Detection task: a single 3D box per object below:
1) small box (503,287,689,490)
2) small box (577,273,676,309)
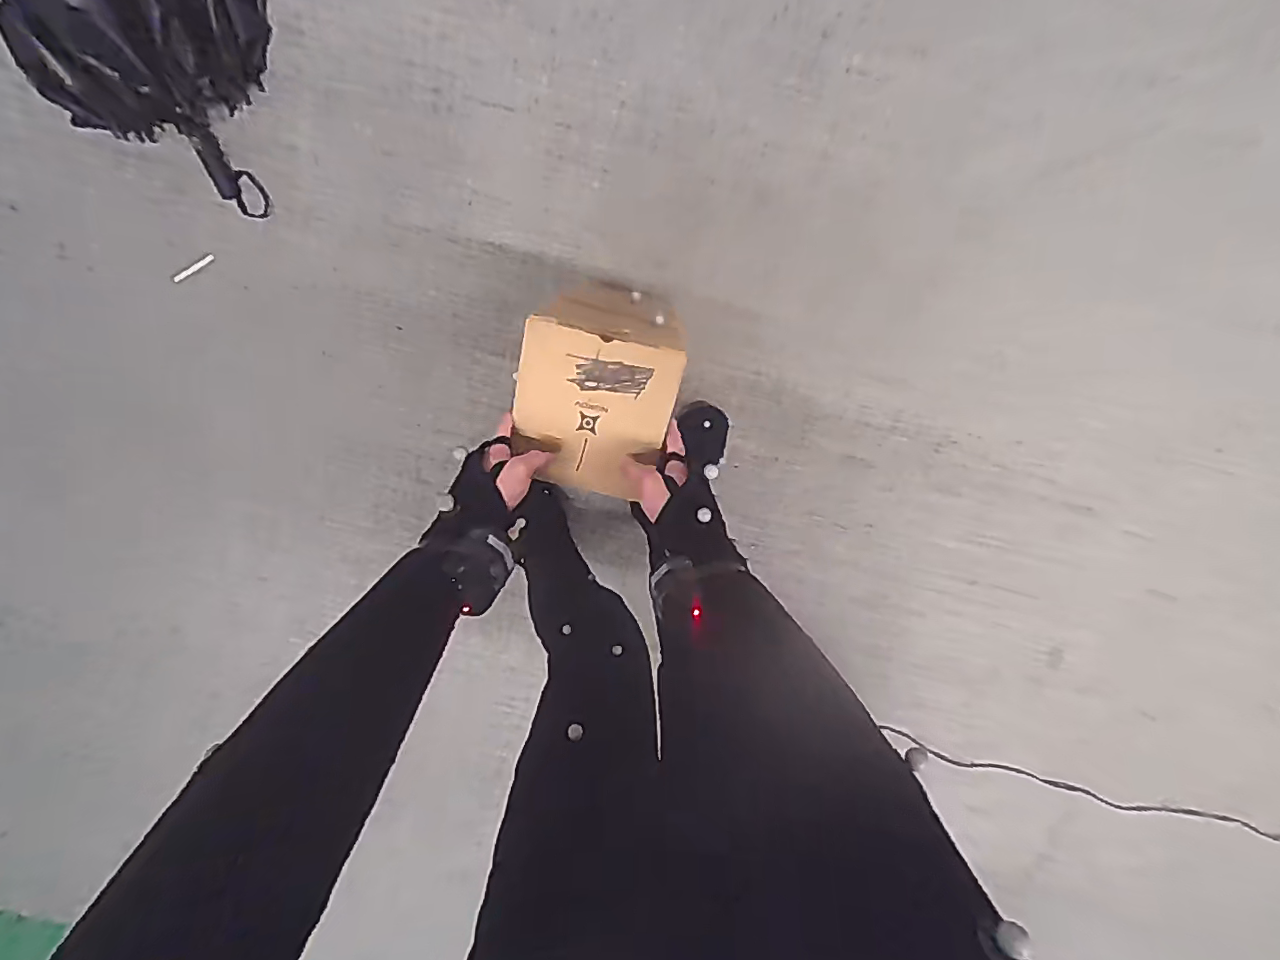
[{"bbox_3d":[-0.048,-0.116,0.633,0.168,0.176,0.179,14,114,-3],"label":"small box"},{"bbox_3d":[-0.034,-0.247,0.933,0.168,0.176,0.179,13,113,-2],"label":"small box"}]
